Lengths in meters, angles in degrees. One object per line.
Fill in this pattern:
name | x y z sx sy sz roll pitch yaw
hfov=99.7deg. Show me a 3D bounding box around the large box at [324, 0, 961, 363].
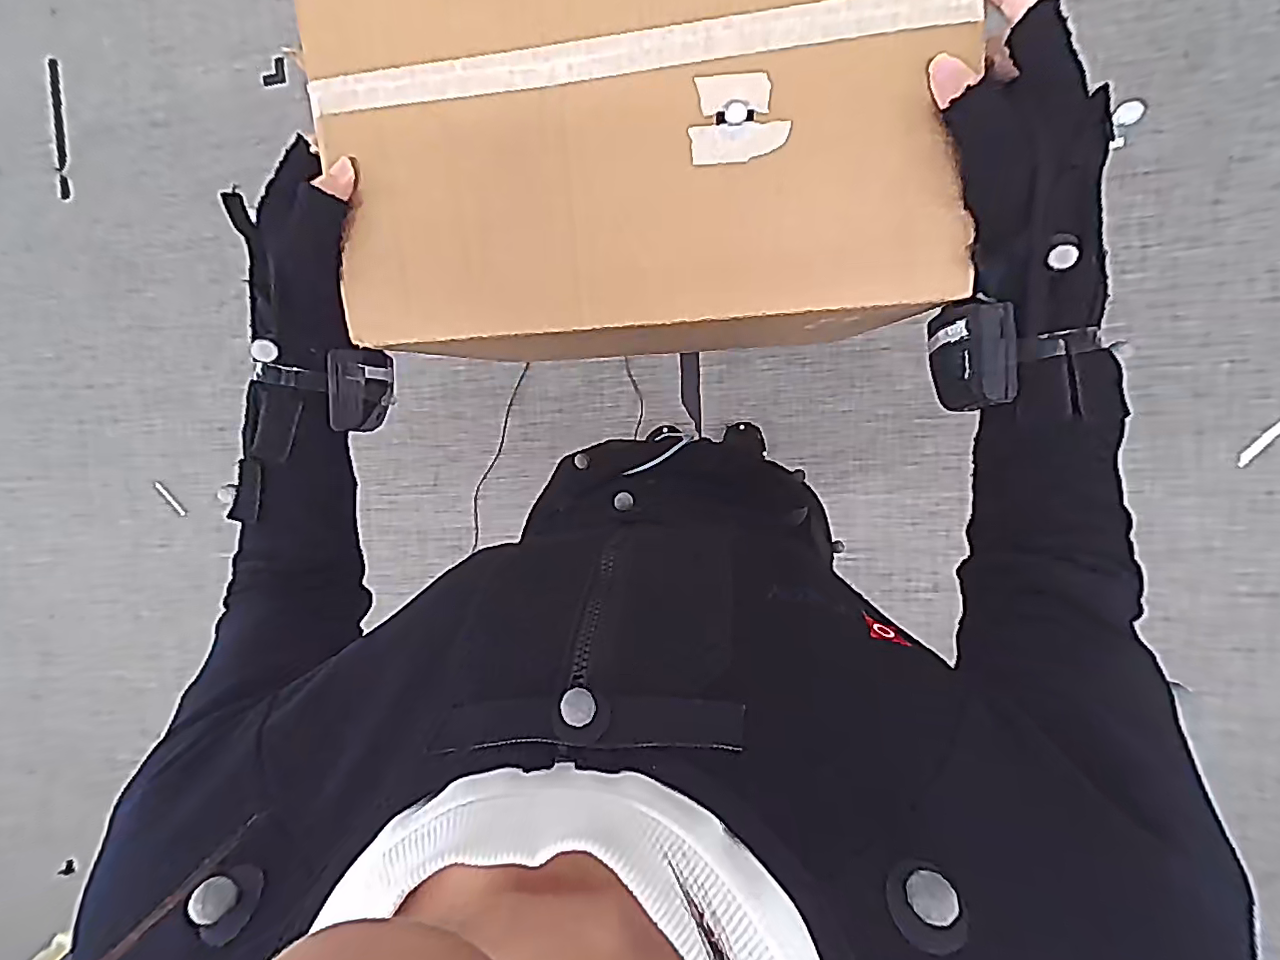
large box | 0.007 -0.285 0.487 0.408 0.320 0.320 -3 100 7
